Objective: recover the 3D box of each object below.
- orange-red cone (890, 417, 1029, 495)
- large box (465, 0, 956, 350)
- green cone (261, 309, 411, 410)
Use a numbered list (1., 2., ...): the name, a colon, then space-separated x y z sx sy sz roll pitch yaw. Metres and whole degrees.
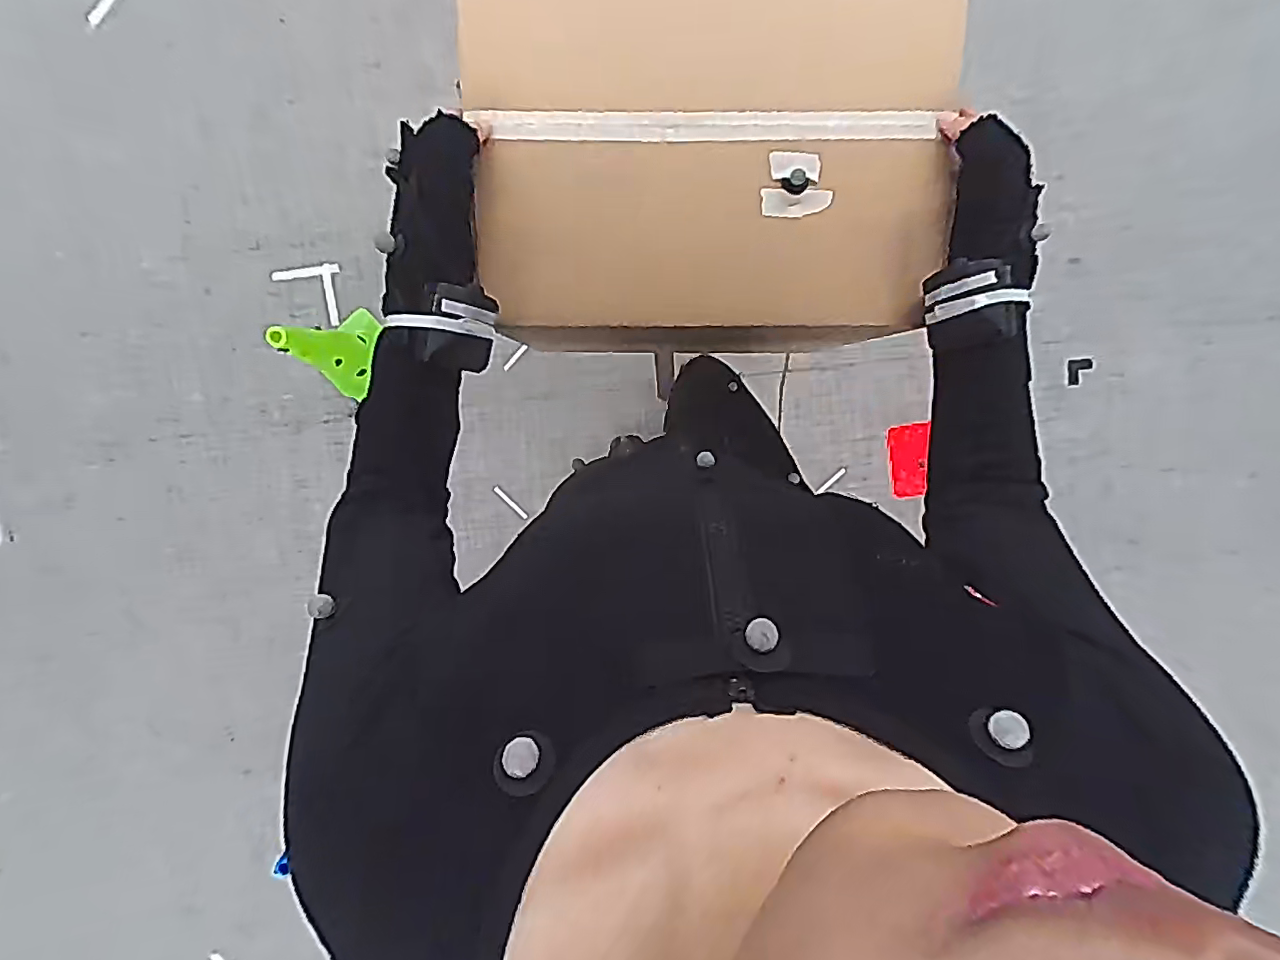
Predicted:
1. orange-red cone: 0.788 -0.054 1.302 0.198 0.360 0.199 -8 94 -1
2. large box: 0.054 -0.318 0.595 0.408 0.320 0.320 -1 99 -2
3. green cone: -0.729 -0.299 1.247 0.202 0.368 0.200 -43 94 4
